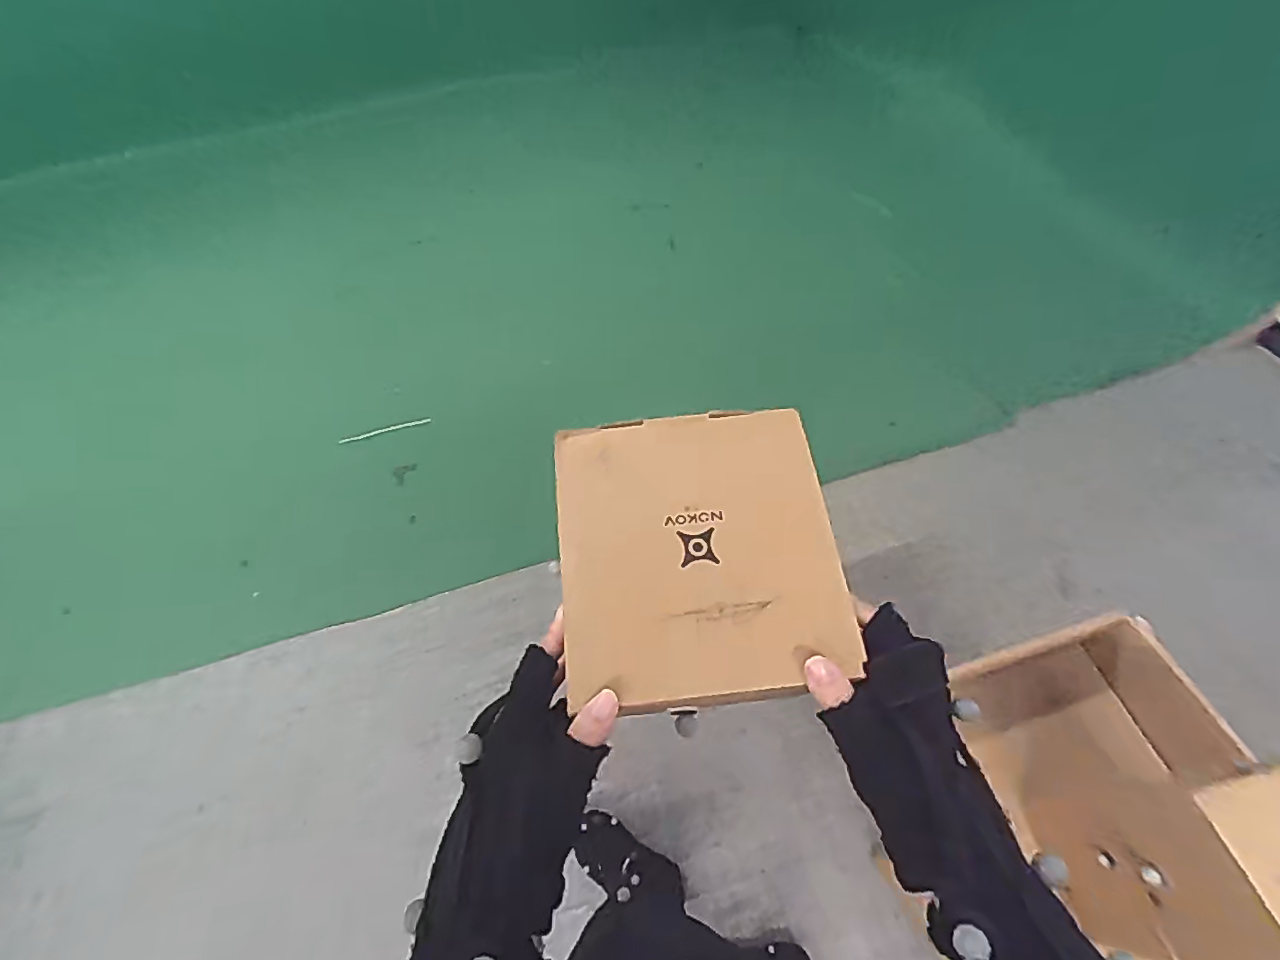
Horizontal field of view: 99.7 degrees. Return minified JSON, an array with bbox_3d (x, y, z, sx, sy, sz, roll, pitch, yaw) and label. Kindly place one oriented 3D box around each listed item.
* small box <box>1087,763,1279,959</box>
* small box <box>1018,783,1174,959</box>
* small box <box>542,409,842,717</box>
[{"bbox_3d":[0.649,0.409,0.576,0.179,0.176,0.168,-11,58,-3],"label":"small box"},{"bbox_3d":[0.659,0.502,0.711,0.179,0.176,0.168,-9,56,-3],"label":"small box"},{"bbox_3d":[0.022,0.070,0.402,0.168,0.176,0.179,-6,65,-2],"label":"small box"}]
